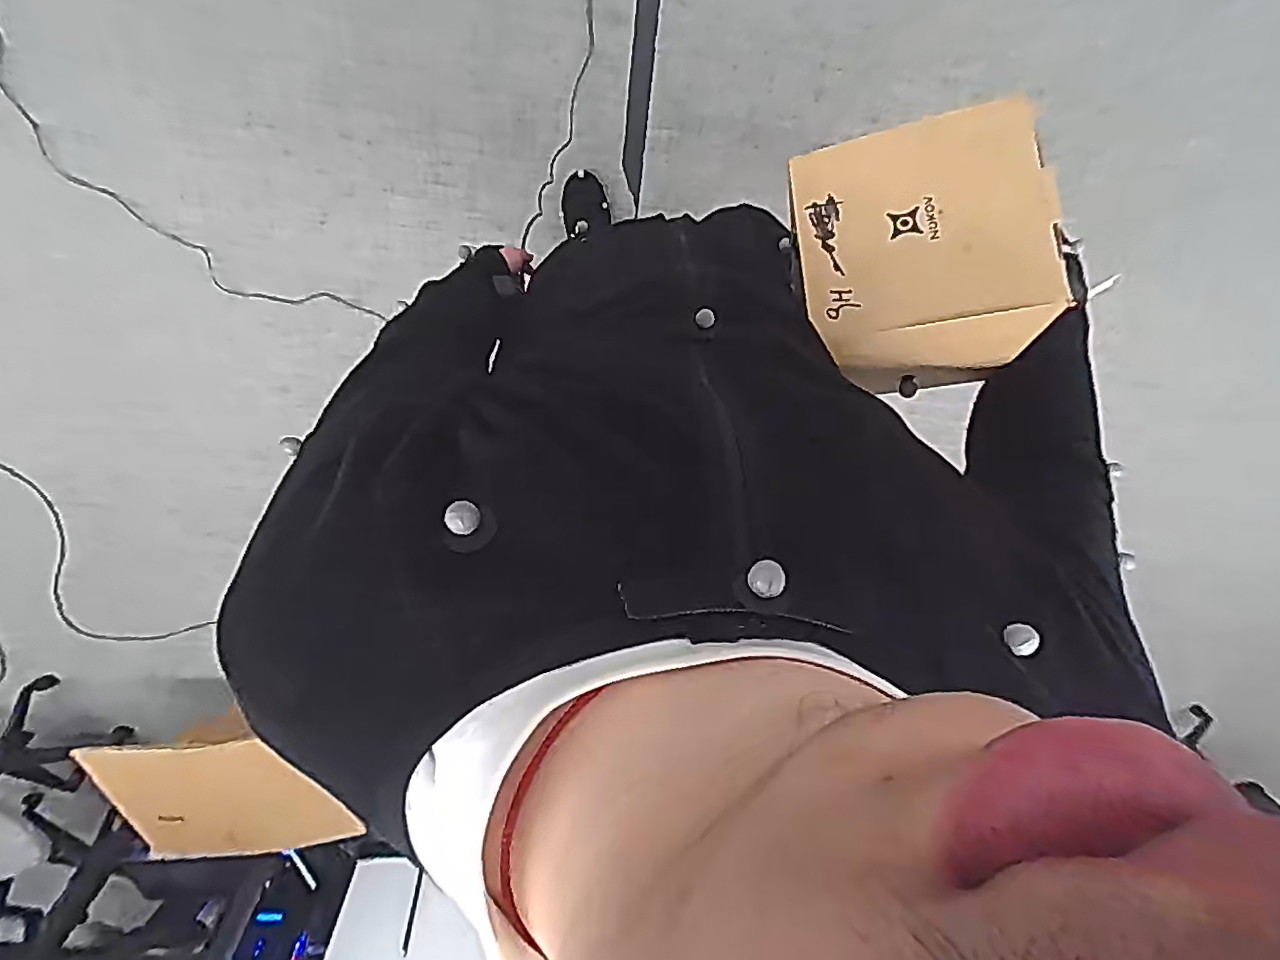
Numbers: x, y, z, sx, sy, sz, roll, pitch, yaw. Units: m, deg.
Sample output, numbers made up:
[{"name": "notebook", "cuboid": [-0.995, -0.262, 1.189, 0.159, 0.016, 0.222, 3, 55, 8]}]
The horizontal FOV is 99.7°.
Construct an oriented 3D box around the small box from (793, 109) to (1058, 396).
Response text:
[{"name": "small box", "cuboid": [0.238, -0.187, 0.501, 0.179, 0.176, 0.168, -6, 79, 16]}]
